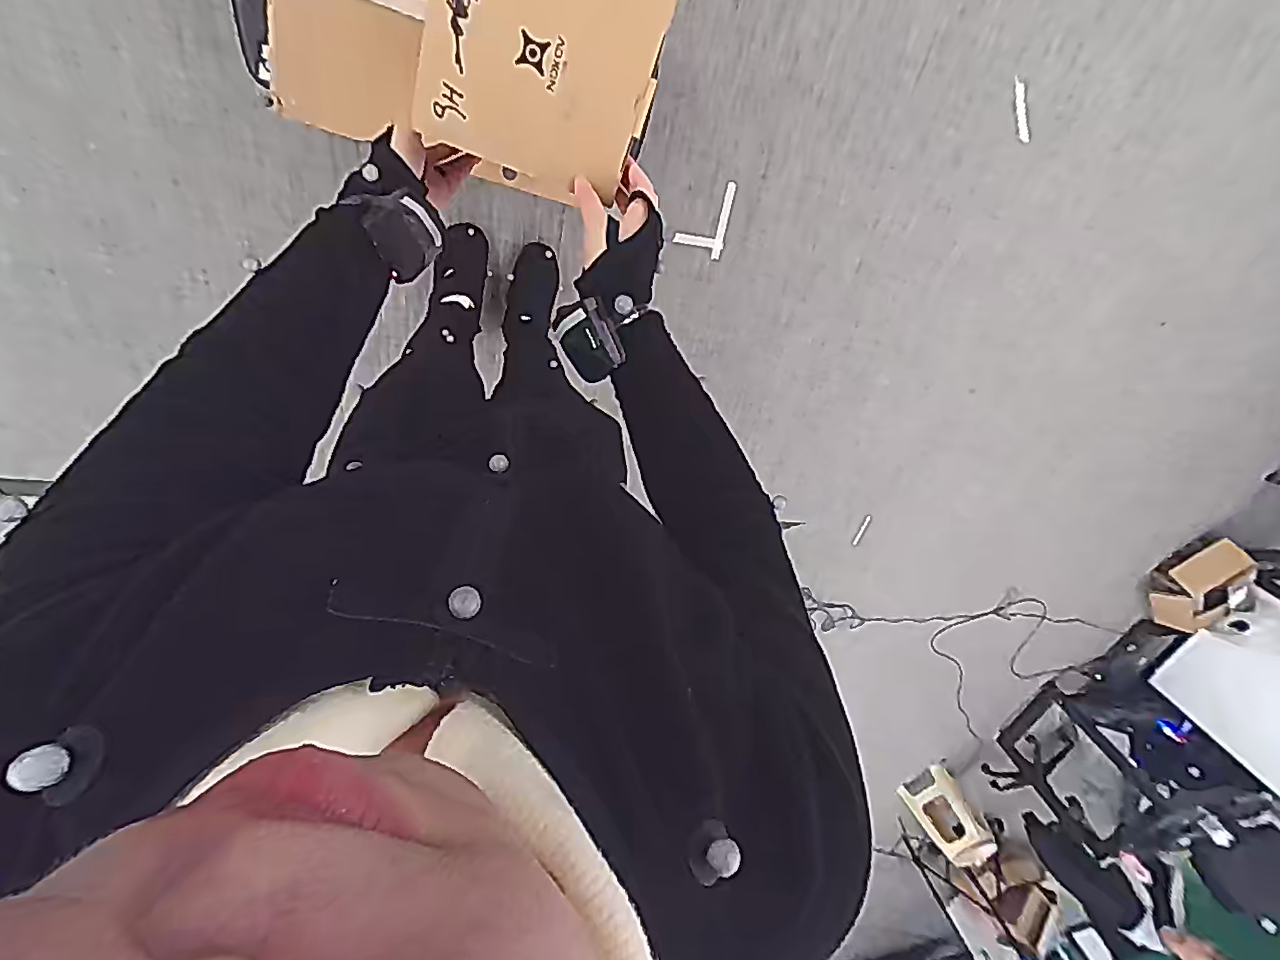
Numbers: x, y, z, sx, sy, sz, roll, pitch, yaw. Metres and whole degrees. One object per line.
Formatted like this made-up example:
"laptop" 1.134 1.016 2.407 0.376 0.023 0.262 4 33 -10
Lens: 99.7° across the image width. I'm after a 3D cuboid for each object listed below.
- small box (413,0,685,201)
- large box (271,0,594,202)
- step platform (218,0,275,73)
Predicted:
"small box" -0.087 -0.375 0.477 0.179 0.176 0.168 11 119 -23
"large box" -0.242 -0.632 0.766 0.408 0.320 0.320 8 120 -19
"step platform" -0.320 -0.764 0.950 0.684 0.204 0.286 10 121 -20
